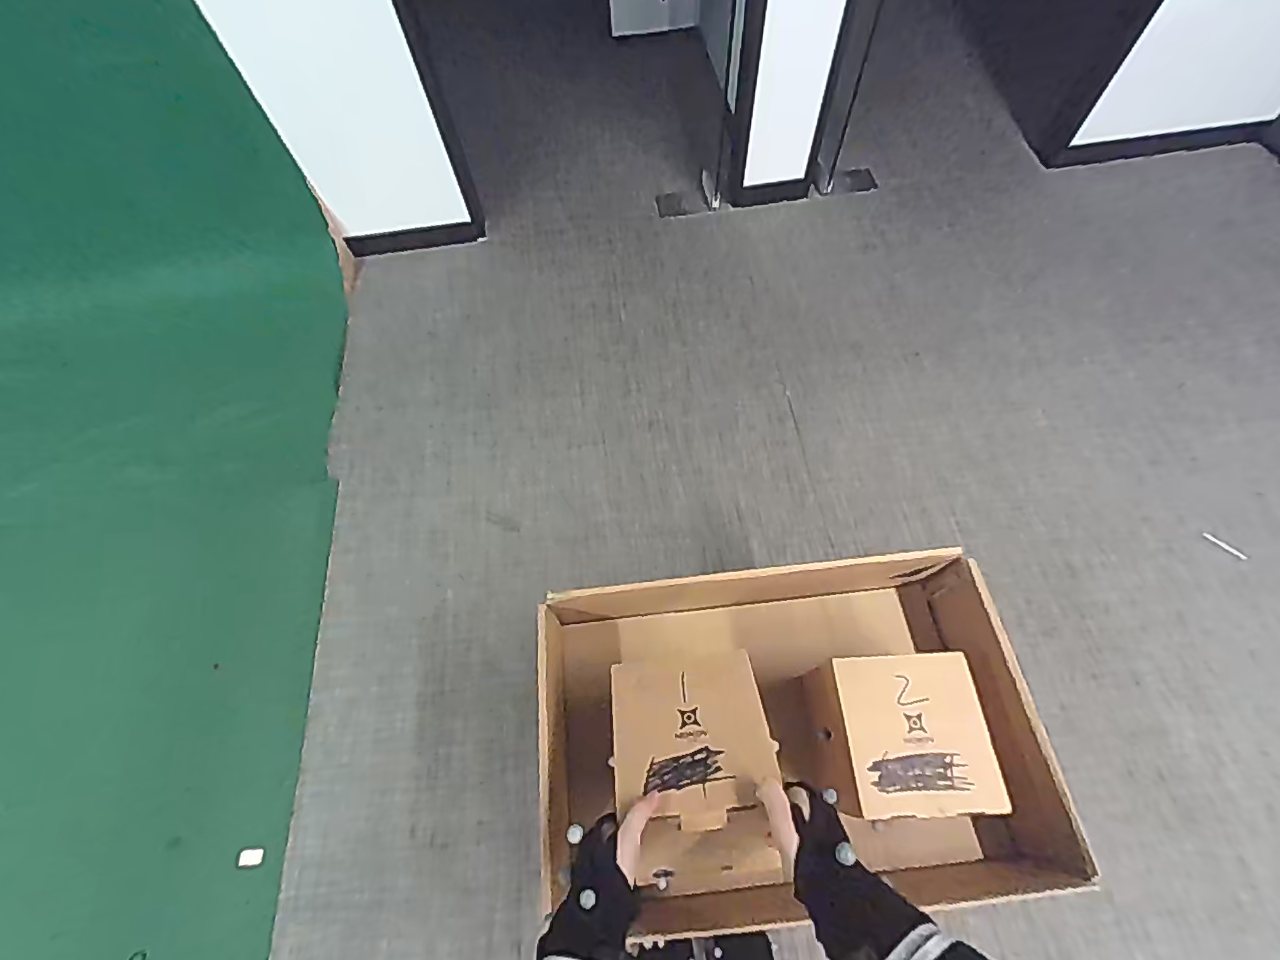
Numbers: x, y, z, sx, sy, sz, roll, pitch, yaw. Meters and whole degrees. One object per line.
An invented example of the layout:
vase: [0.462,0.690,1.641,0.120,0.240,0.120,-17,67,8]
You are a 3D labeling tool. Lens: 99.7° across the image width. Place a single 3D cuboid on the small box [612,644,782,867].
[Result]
small box: [0.063,0.324,0.631,0.168,0.176,0.179,-8,37,1]
